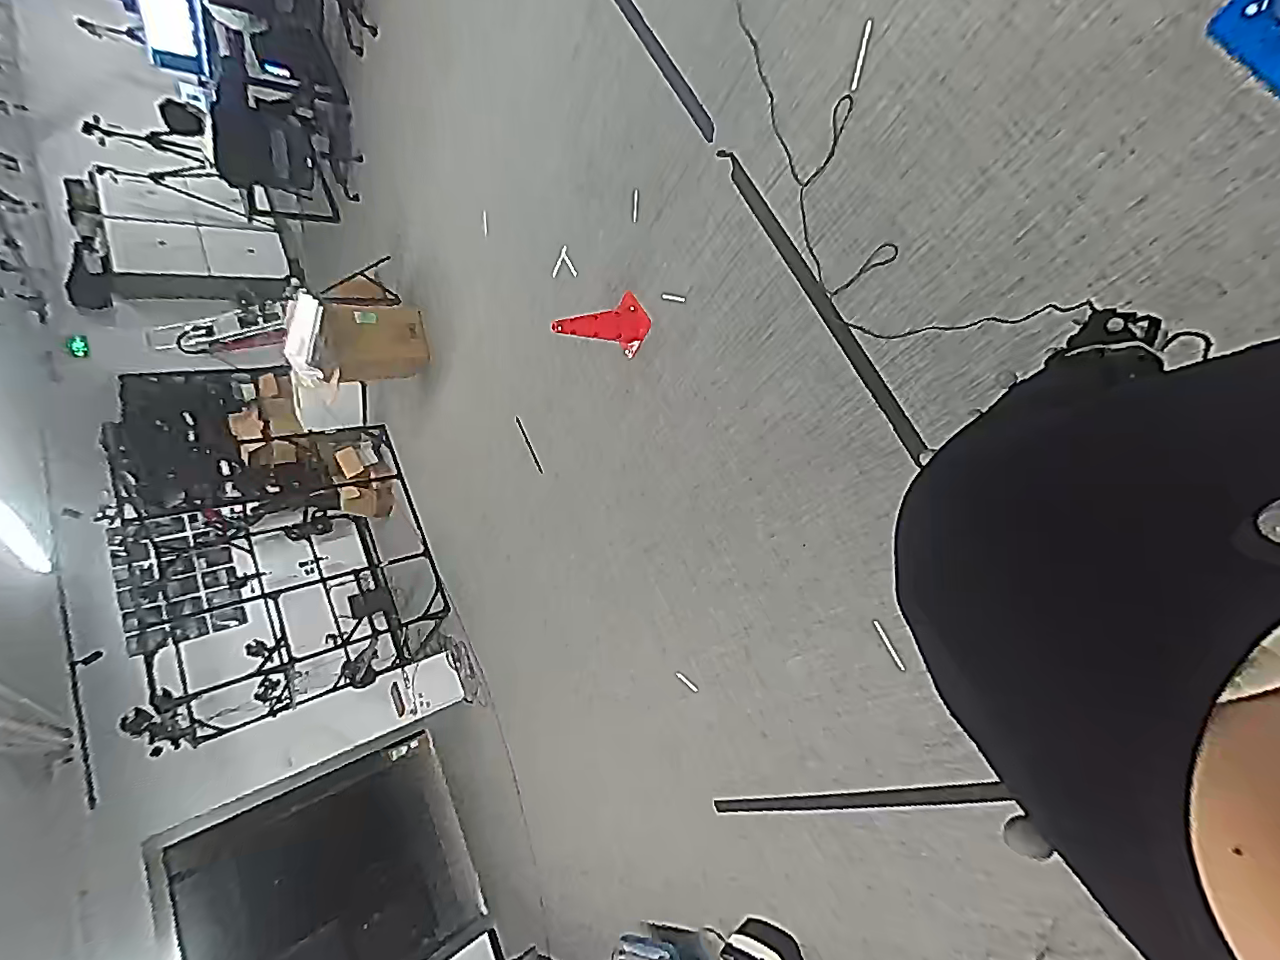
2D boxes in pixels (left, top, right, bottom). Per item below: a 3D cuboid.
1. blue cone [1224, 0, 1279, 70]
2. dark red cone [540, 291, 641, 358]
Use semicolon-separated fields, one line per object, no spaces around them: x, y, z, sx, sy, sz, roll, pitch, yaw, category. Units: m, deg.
0.888;-0.698;0.683;0.192;0.380;0.193;-44;67;47;blue cone
-0.202;-0.592;2.062;0.202;0.394;0.201;59;138;22;dark red cone
